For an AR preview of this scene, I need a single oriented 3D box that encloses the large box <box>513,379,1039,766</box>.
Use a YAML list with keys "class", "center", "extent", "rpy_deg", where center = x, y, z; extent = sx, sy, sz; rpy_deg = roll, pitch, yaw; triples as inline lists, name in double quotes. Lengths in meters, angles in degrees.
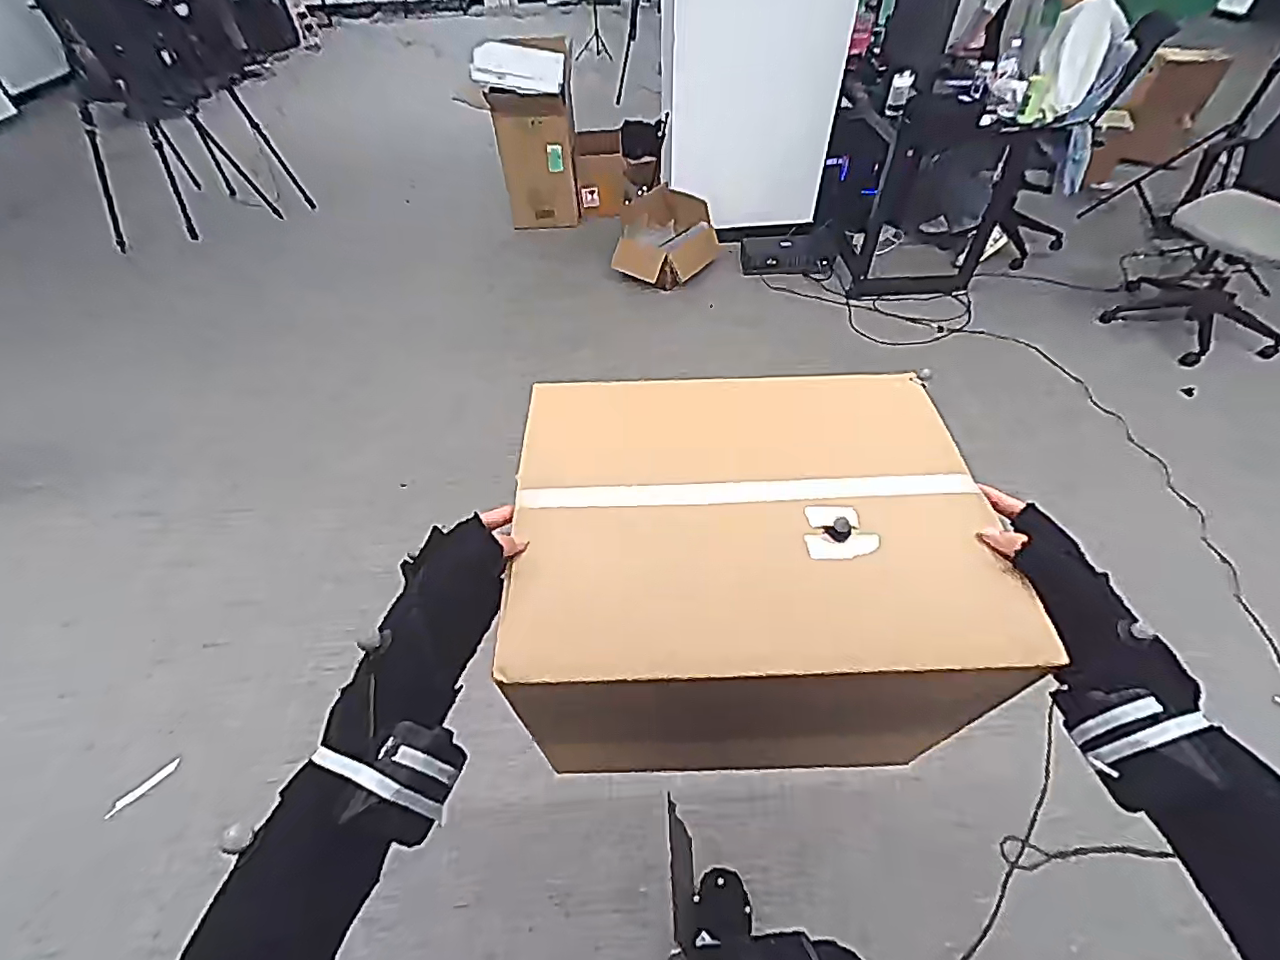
- class: "large box"
  center: [0.096, 0.109, 0.606]
  extent: [0.408, 0.320, 0.320]
  rpy_deg: [-2, 52, -1]
